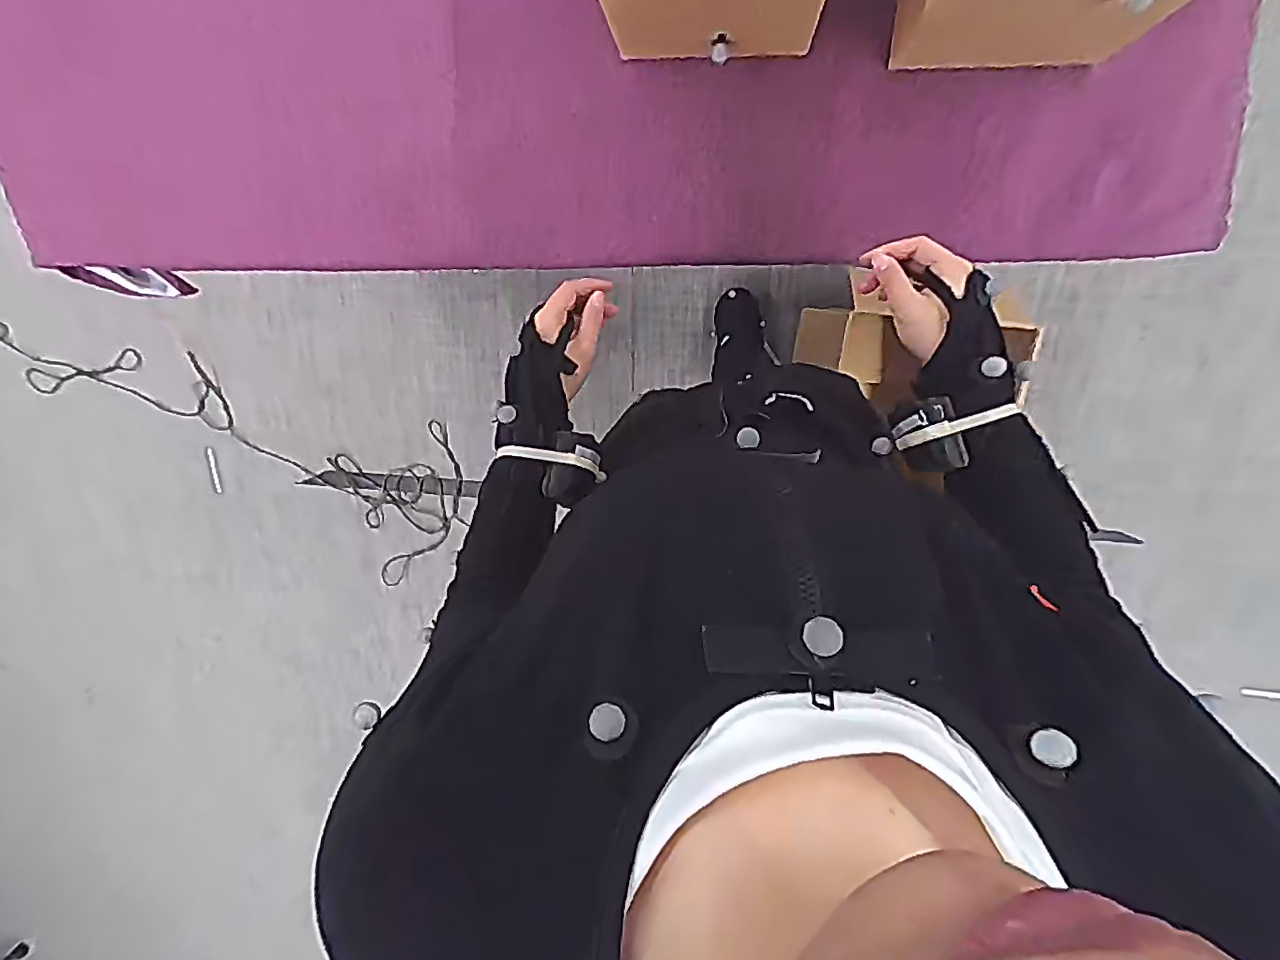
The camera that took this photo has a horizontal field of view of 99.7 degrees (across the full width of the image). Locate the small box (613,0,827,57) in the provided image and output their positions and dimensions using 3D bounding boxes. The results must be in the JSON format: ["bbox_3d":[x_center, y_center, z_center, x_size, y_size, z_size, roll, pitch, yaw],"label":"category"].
[{"bbox_3d":[0.063,-0.454,0.407,0.179,0.176,0.168,5,107,8],"label":"small box"}]

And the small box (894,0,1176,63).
[{"bbox_3d":[0.306,-0.426,0.380,0.179,0.176,0.168,5,107,7],"label":"small box"}]
